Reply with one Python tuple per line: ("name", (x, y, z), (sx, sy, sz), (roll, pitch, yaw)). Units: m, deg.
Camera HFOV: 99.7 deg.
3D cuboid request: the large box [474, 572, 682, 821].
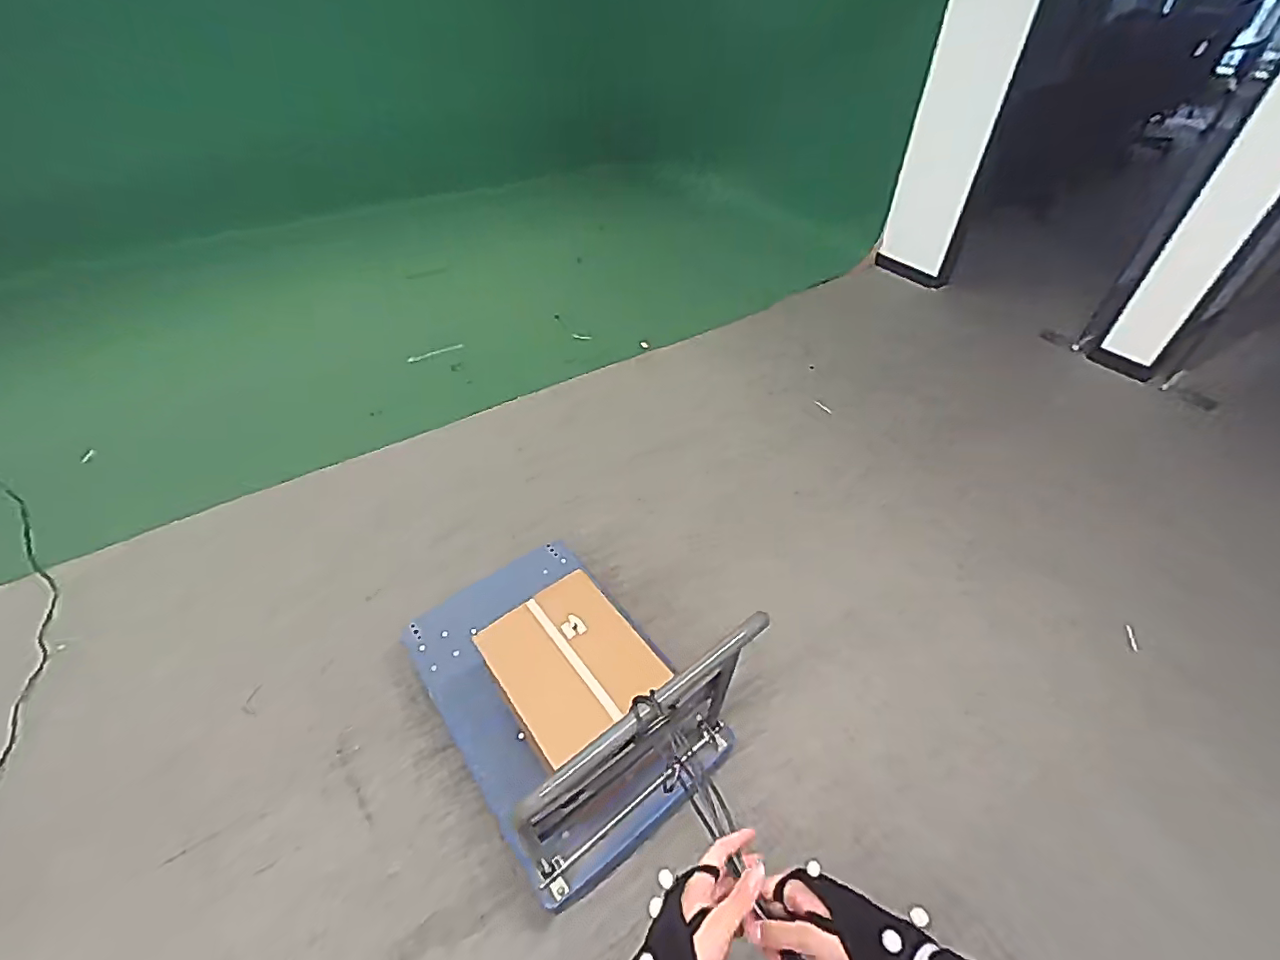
("large box", (-0.140, 0.513, 1.314), (0.320, 0.320, 0.408), (-30, 51, -26))
